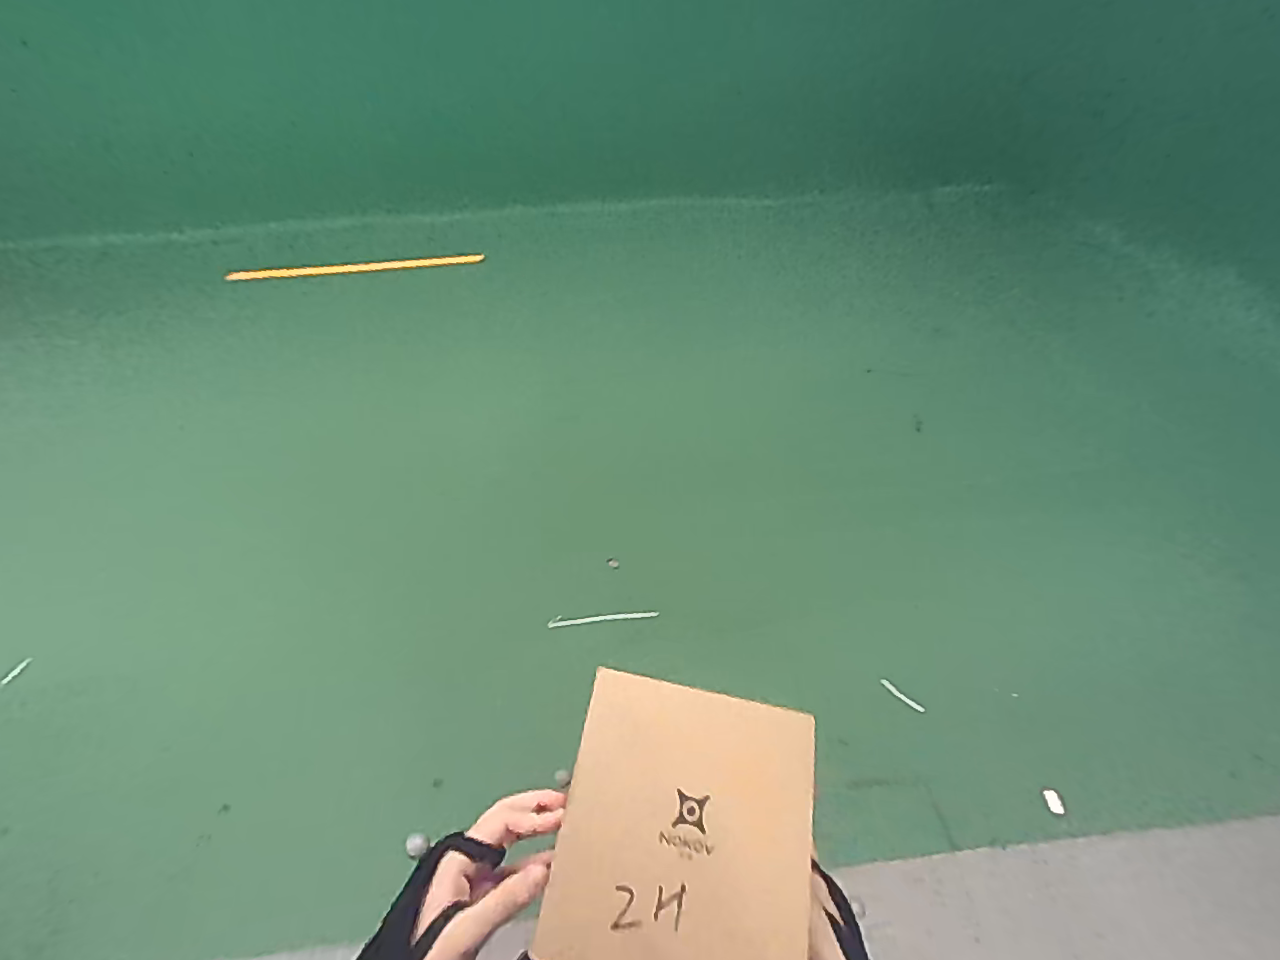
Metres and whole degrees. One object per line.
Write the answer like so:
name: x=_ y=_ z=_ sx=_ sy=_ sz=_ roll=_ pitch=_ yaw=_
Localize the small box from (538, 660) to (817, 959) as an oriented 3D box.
small box: x=0.028 y=0.265 z=0.422 sx=0.168 sy=0.176 sz=0.179 roll=11 pitch=57 yaw=3
